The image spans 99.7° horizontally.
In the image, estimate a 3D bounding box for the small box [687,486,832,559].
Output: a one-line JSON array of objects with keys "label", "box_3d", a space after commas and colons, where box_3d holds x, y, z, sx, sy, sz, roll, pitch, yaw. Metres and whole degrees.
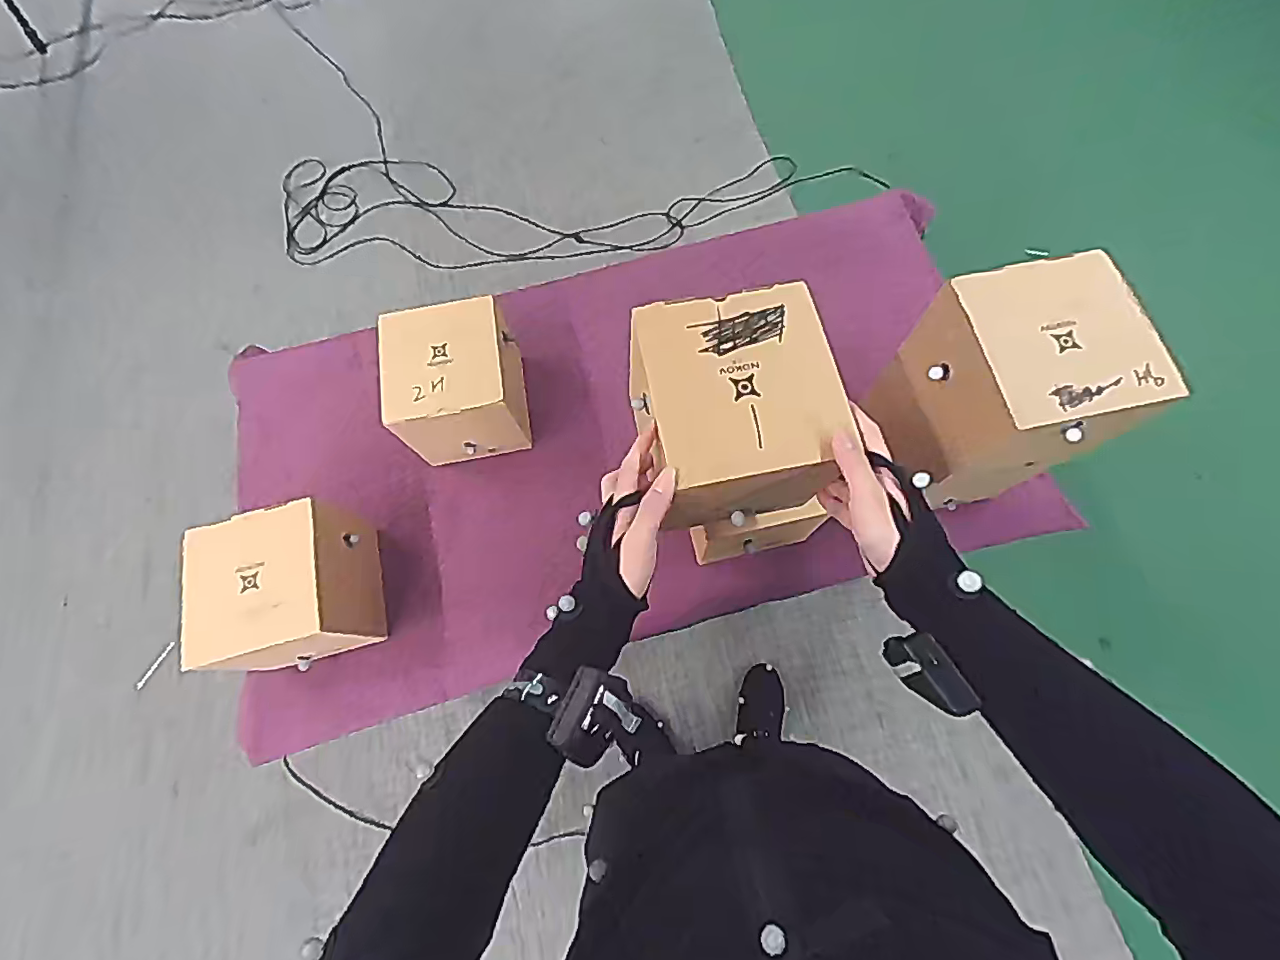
[{"label": "small box", "box_3d": [0.141, 0.004, 0.751, 0.168, 0.176, 0.179, -13, 70, -1]}]

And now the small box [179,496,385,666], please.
[{"label": "small box", "box_3d": [-0.469, 0.144, 0.731, 0.168, 0.176, 0.179, -15, 71, -2]}]

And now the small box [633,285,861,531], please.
[{"label": "small box", "box_3d": [0.086, -0.061, 0.541, 0.168, 0.176, 0.179, -11, 74, -4]}]

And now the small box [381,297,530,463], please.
[{"label": "small box", "box_3d": [-0.271, -0.144, 0.817, 0.168, 0.176, 0.179, -10, 72, -1]}]

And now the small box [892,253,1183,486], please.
[{"label": "small box", "box_3d": [0.410, -0.112, 0.599, 0.168, 0.176, 0.179, -11, 70, 0]}]
